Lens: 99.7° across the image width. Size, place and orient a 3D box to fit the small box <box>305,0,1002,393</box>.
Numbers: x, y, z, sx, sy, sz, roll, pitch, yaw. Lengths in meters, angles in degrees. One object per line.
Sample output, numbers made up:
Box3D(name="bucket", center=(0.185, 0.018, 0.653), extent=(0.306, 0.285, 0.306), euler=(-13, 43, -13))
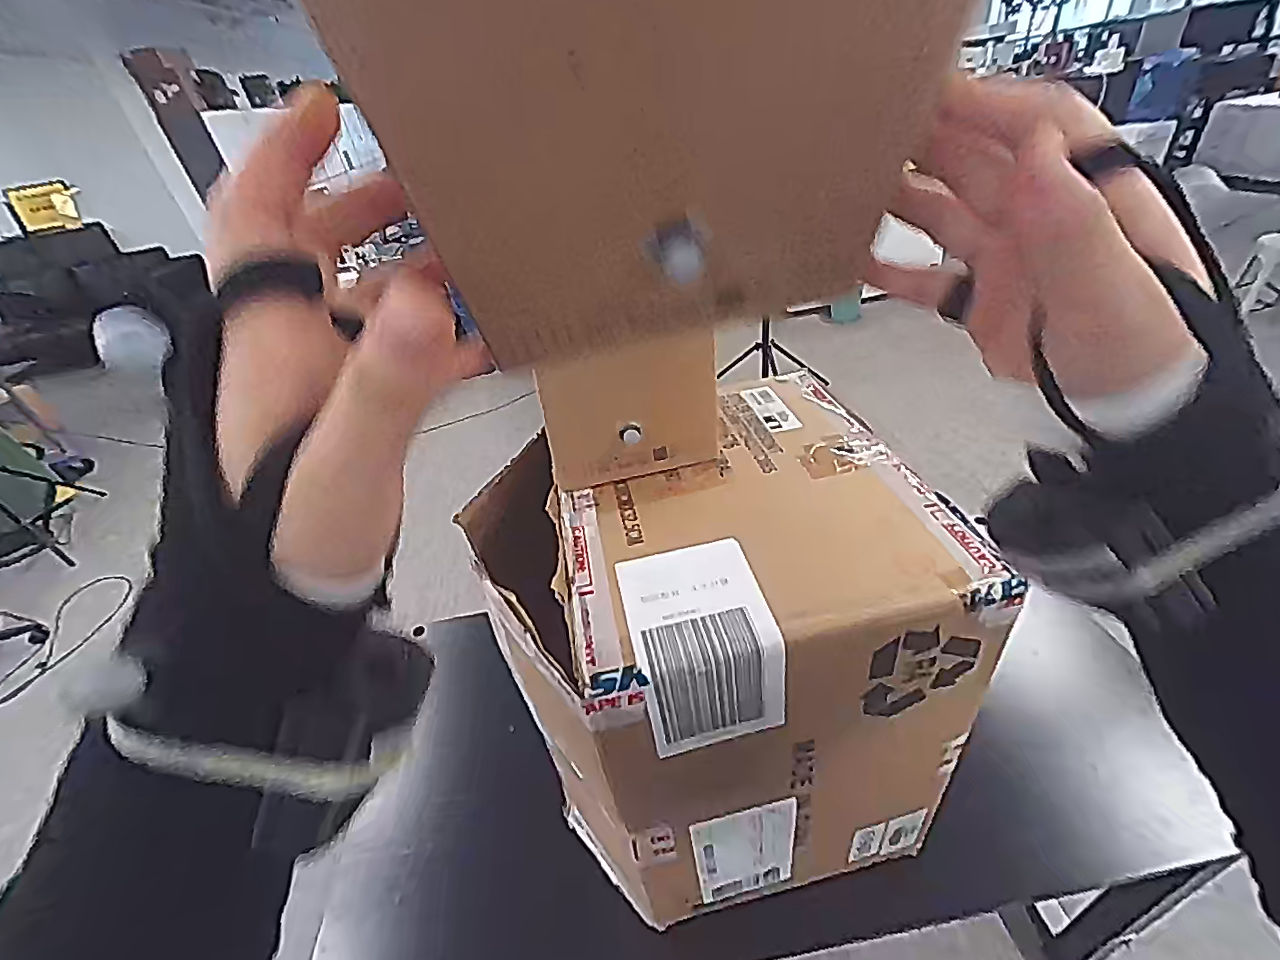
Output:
Box3D(name="small box", center=(-0.003, -0.161, 0.208), extent=(0.168, 0.176, 0.179), euler=(-13, 68, 0))

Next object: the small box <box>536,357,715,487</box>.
Box3D(name="small box", center=(-0.026, -0.116, 0.570), extent=(0.168, 0.176, 0.179), euler=(-12, 34, -7))
